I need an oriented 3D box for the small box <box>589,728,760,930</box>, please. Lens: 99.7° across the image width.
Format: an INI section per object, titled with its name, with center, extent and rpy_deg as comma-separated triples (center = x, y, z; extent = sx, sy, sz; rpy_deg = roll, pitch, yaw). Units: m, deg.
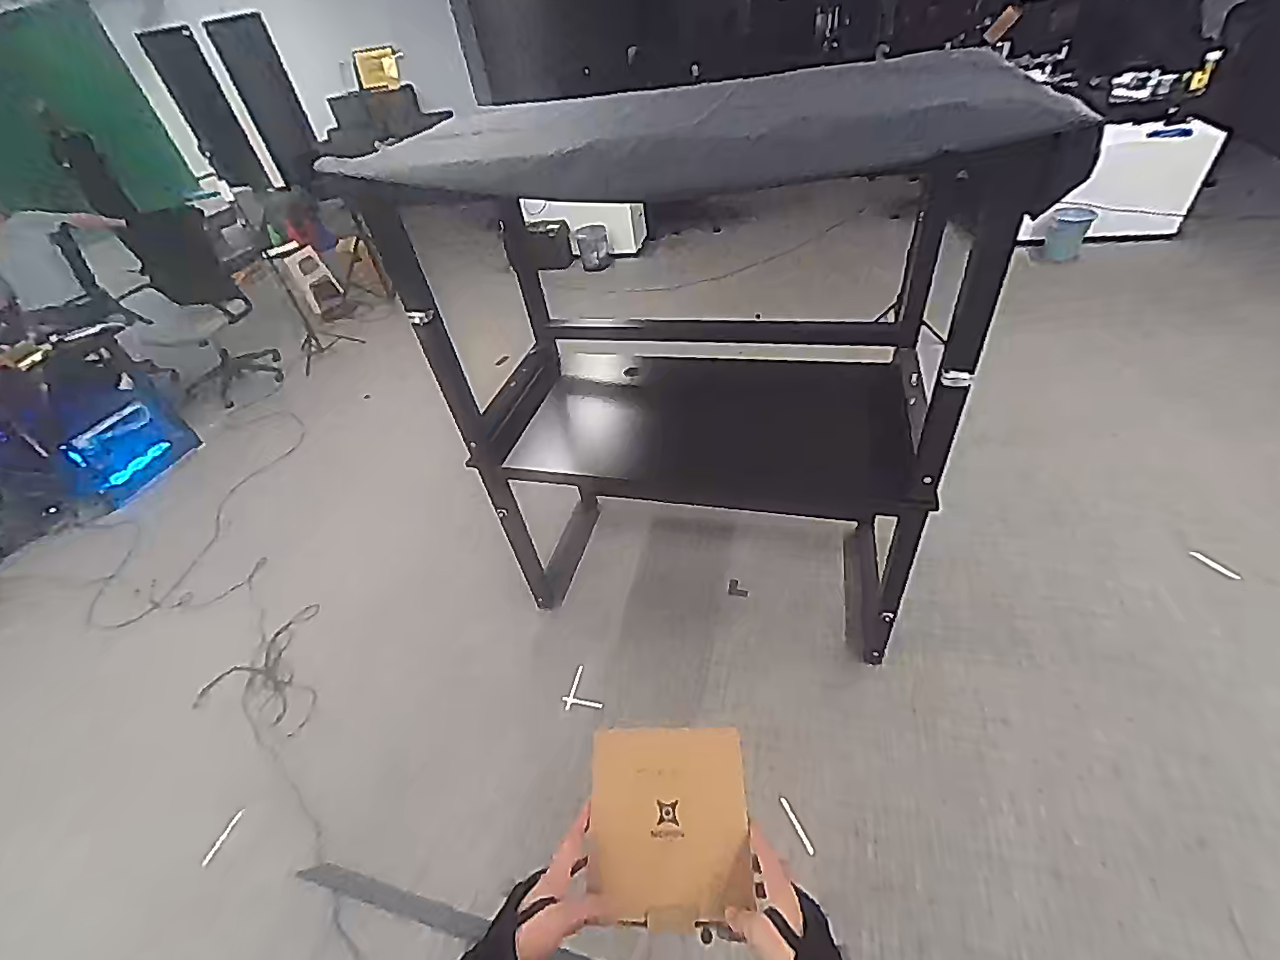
[small box]
center = 0.037, 0.397, 0.620
extent = 0.168, 0.176, 0.179
rpy_deg = -2, 53, 2
